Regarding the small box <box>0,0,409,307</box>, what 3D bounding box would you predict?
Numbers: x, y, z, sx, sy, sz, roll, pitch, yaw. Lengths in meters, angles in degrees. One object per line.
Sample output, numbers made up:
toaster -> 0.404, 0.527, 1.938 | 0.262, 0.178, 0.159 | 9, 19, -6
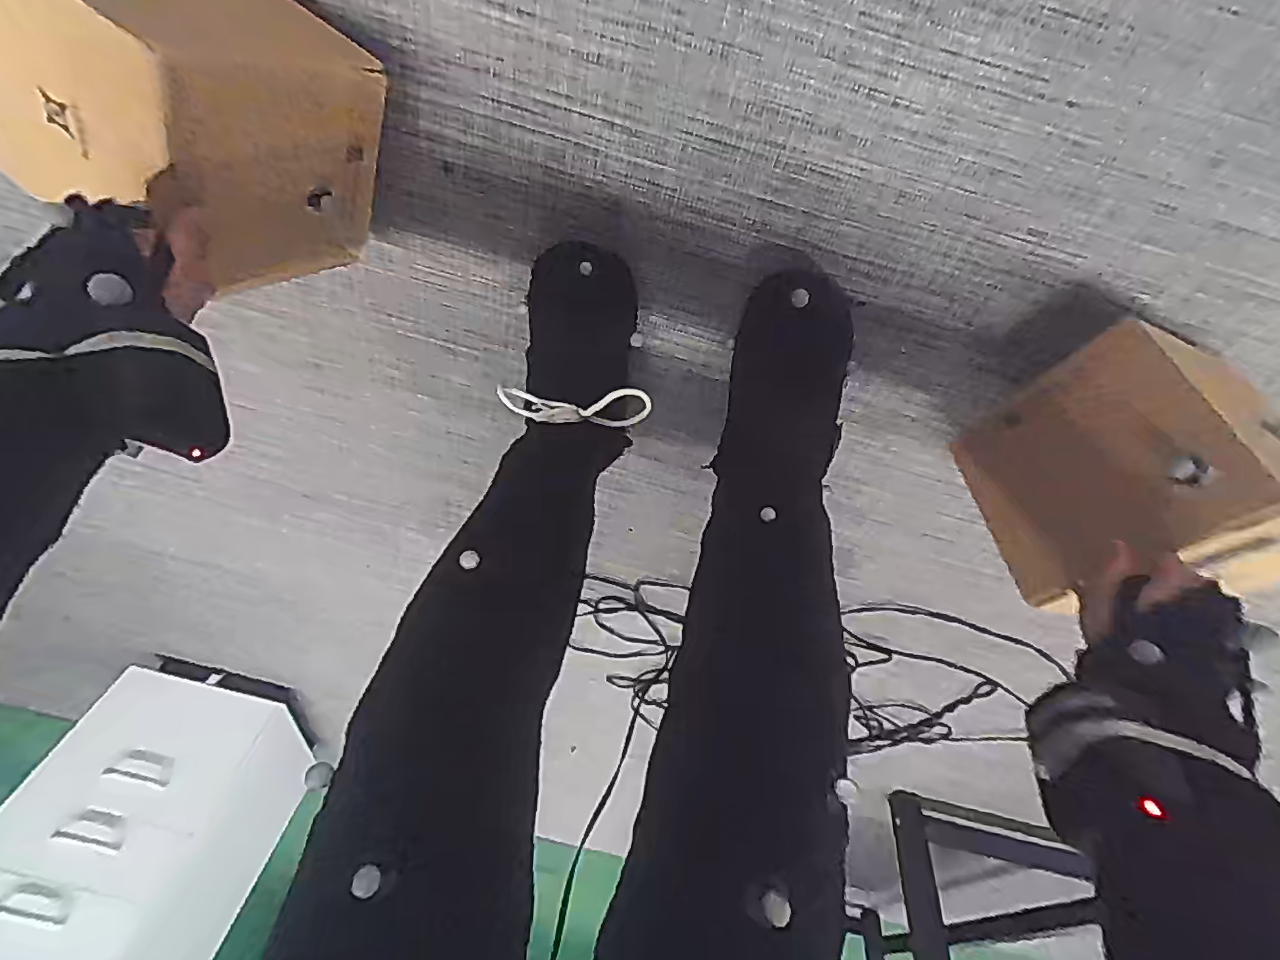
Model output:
small box -> -0.314, -0.266, 0.408 | 0.179, 0.176, 0.168 | 36, 128, -3
